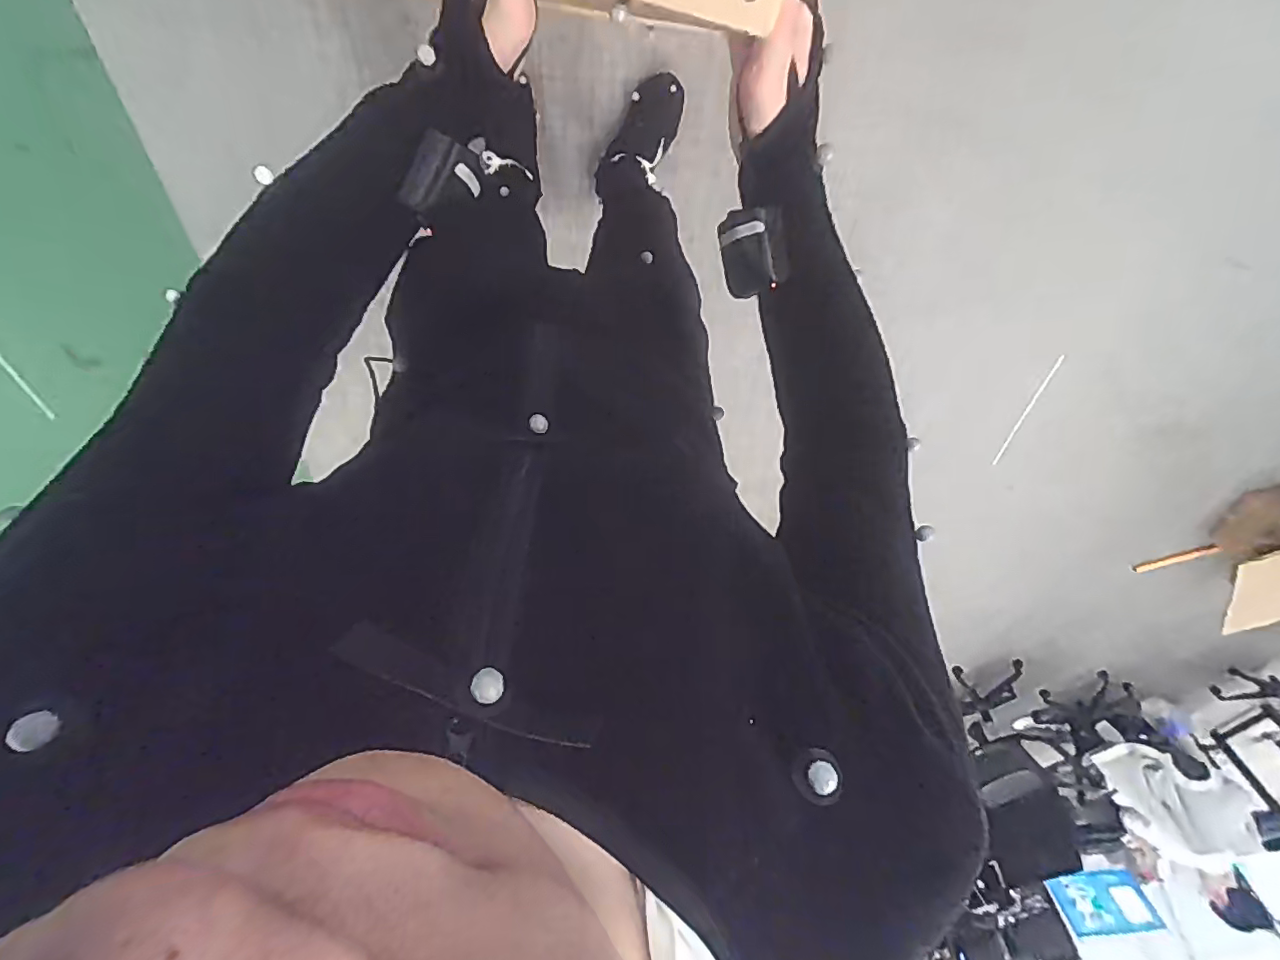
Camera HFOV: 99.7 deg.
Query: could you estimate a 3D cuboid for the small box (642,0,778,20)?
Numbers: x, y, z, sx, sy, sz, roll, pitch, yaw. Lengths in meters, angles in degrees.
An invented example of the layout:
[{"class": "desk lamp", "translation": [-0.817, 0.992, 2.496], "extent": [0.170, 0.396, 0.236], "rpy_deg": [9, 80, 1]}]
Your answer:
[{"class": "small box", "translation": [0.016, -0.419, 0.337], "extent": [0.168, 0.176, 0.179], "rpy_deg": [6, 130, -10]}]
